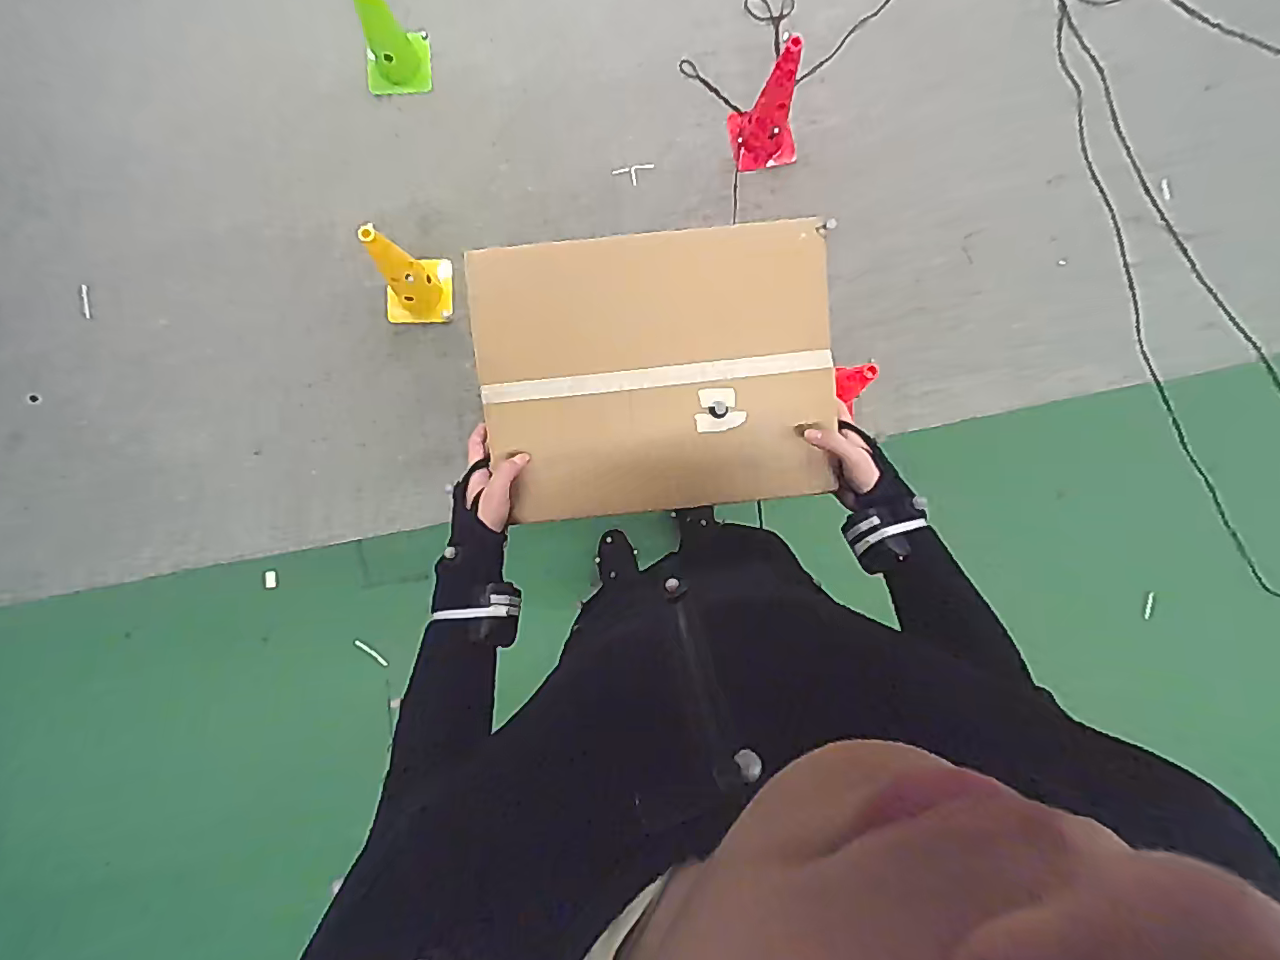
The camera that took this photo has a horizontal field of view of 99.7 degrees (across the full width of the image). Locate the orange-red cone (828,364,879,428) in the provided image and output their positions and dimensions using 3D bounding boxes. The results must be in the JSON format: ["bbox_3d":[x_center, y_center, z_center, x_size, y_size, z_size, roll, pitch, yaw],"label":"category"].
[{"bbox_3d":[0.572,-0.264,1.522,0.199,0.360,0.198,-4,88,-3],"label":"orange-red cone"}]

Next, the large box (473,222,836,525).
[{"bbox_3d":[0.017,-0.136,0.777,0.408,0.320,0.320,-6,98,-1],"label":"large box"}]

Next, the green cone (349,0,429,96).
[{"bbox_3d":[-0.777,-1.335,1.553,0.200,0.368,0.202,-5,88,-1],"label":"green cone"}]
